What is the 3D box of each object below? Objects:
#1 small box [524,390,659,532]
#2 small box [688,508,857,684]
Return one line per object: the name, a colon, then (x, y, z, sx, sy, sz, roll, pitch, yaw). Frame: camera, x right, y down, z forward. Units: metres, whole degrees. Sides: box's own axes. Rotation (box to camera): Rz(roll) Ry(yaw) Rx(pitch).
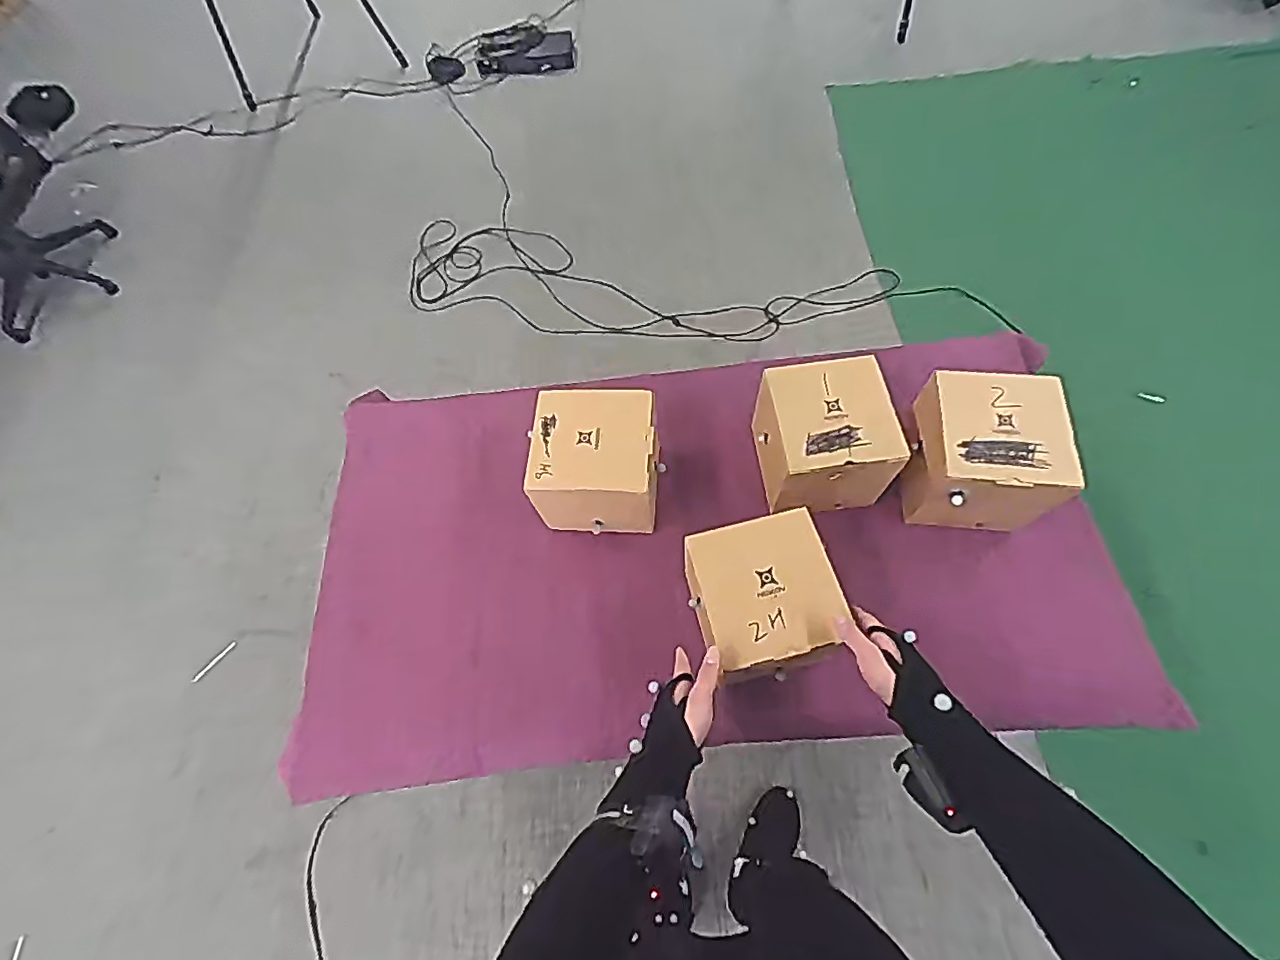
small box: (-0.063, -0.023, 0.842, 0.179, 0.176, 0.168, 2, 65, 5)
small box: (0.163, 0.163, 0.734, 0.168, 0.176, 0.179, -14, 64, -1)
